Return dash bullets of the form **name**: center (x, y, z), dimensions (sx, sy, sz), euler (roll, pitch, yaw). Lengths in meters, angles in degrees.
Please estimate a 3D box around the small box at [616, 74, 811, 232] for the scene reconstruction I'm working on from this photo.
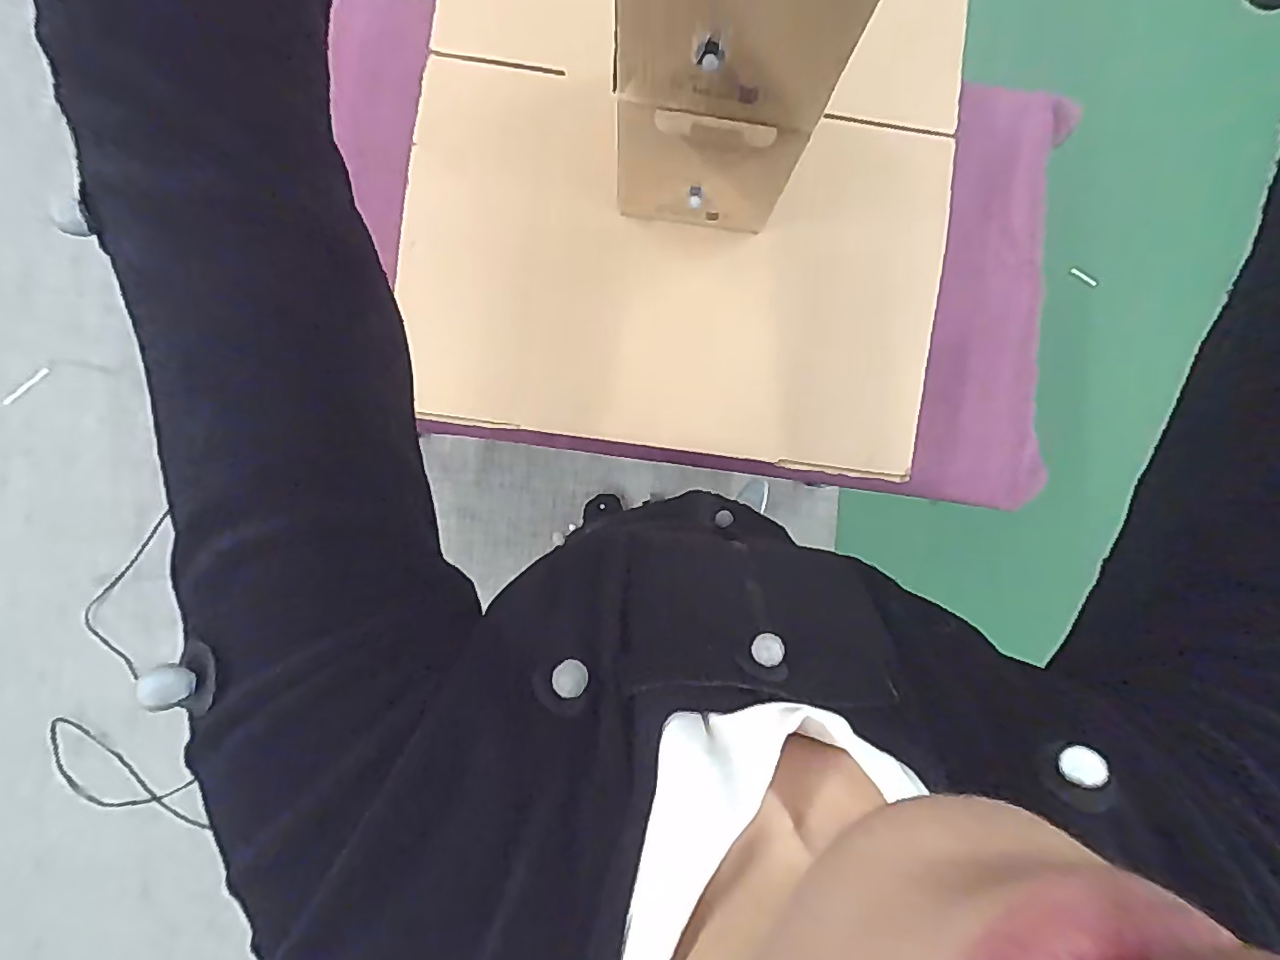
- **small box**: center (0.067, -0.380, 0.532), dimensions (0.168, 0.176, 0.179), euler (7, 86, -1)

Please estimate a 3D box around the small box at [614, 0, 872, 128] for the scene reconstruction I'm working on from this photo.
- **small box**: center (0.073, -0.391, 0.369), dimensions (0.168, 0.176, 0.179), euler (8, 86, -2)
